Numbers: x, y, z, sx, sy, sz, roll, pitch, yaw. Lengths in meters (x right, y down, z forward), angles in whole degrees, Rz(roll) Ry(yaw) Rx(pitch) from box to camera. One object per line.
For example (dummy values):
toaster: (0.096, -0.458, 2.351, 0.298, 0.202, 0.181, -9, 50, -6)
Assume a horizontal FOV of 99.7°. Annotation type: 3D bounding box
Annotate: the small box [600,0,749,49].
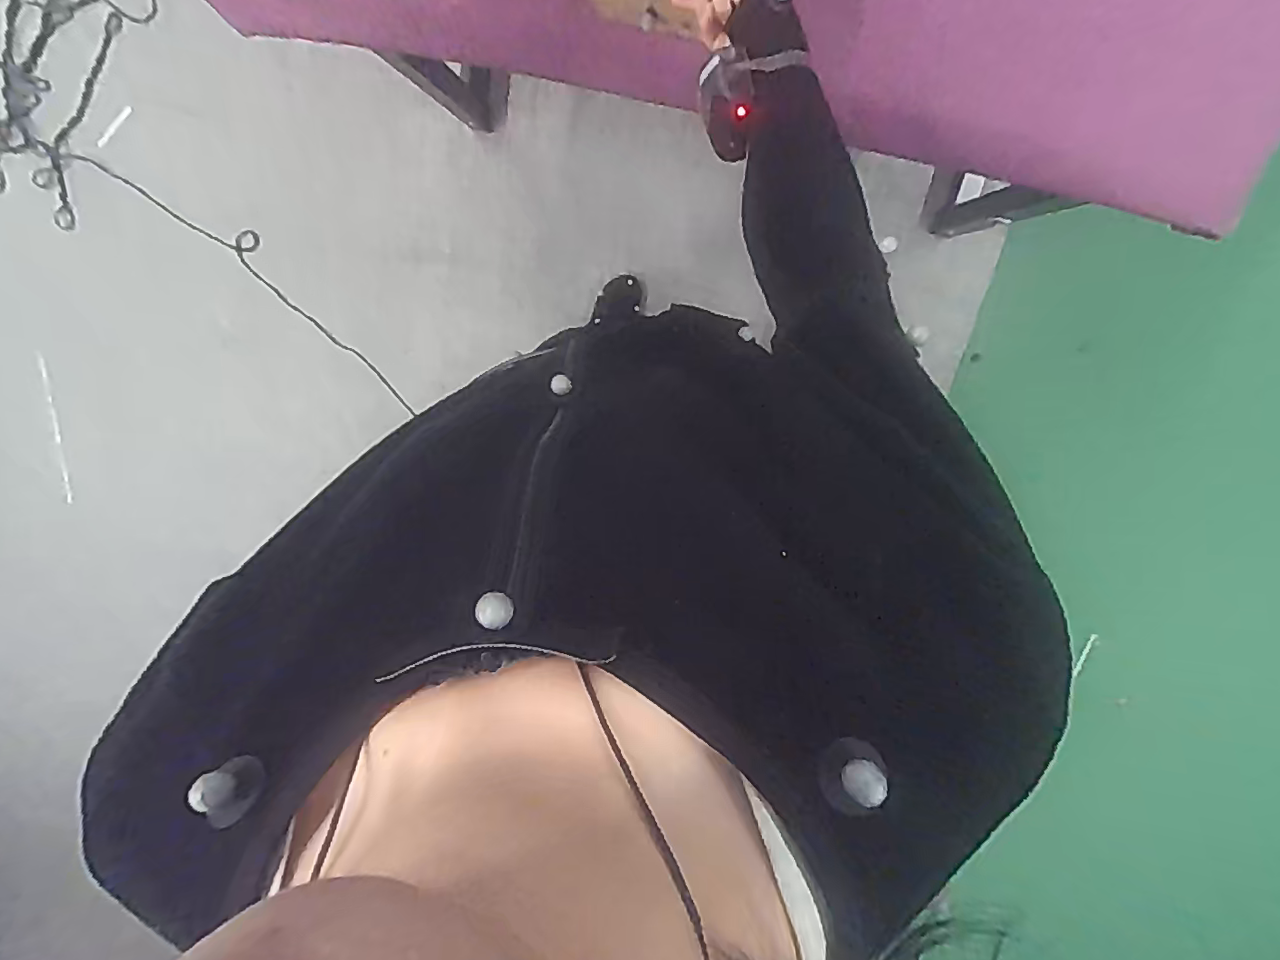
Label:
small box: (0.042, -0.556, 0.503, 0.168, 0.176, 0.179, 13, 107, 1)
